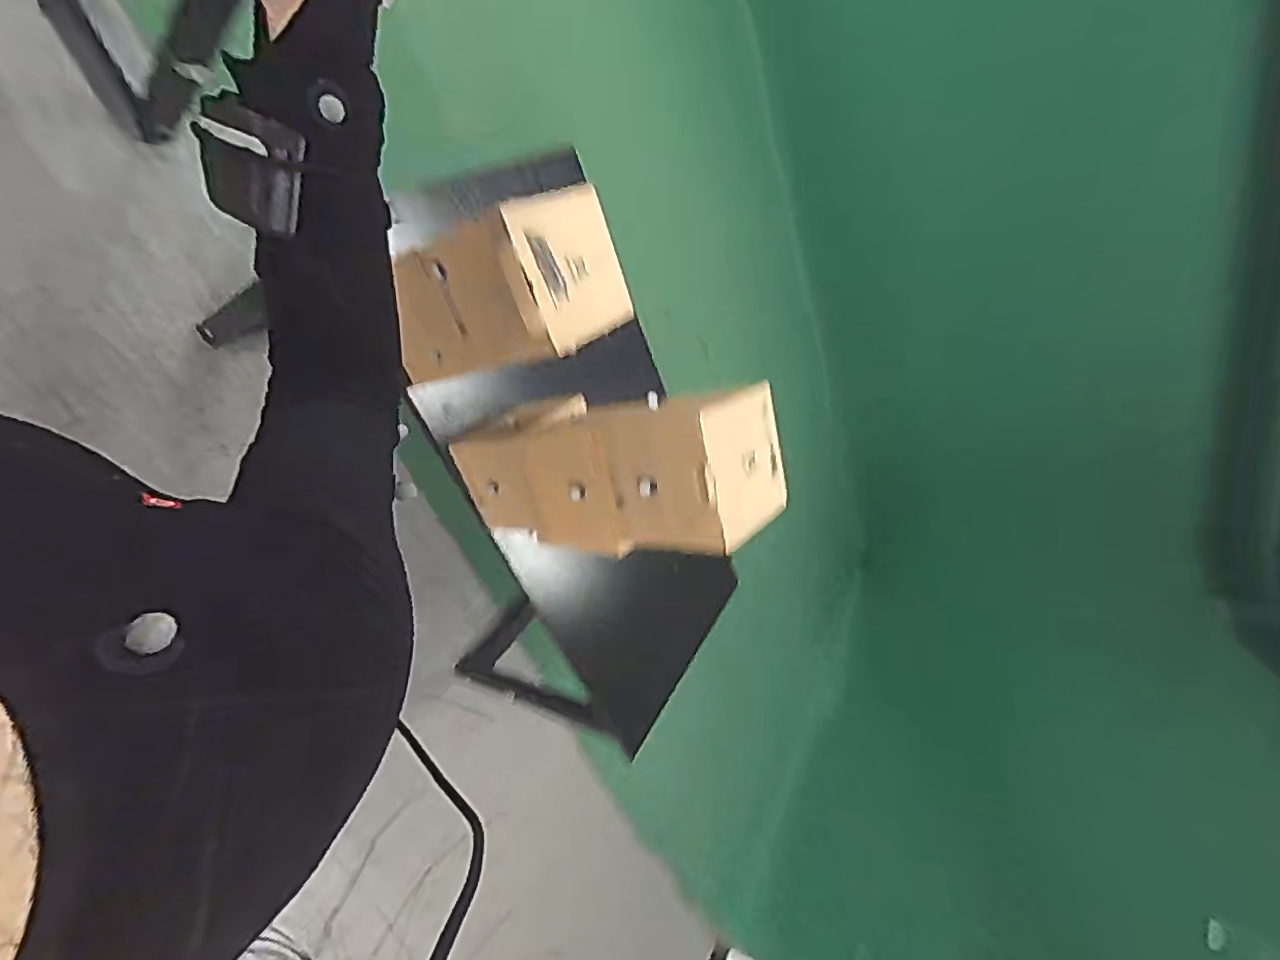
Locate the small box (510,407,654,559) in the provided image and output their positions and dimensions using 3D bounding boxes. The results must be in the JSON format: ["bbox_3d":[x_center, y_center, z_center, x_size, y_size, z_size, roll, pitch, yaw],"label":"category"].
[{"bbox_3d":[-0.065,-0.003,0.809,0.168,0.176,0.179,-30,113,-46],"label":"small box"}]

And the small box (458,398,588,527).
[{"bbox_3d":[-0.183,-0.027,0.921,0.179,0.176,0.168,-40,121,-42],"label":"small box"}]

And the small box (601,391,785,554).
[{"bbox_3d":[0.066,-0.014,0.712,0.179,0.176,0.168,-26,109,-46],"label":"small box"}]

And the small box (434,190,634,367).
[{"bbox_3d":[-0.141,-0.259,0.711,0.179,0.176,0.168,-42,123,-43],"label":"small box"}]
